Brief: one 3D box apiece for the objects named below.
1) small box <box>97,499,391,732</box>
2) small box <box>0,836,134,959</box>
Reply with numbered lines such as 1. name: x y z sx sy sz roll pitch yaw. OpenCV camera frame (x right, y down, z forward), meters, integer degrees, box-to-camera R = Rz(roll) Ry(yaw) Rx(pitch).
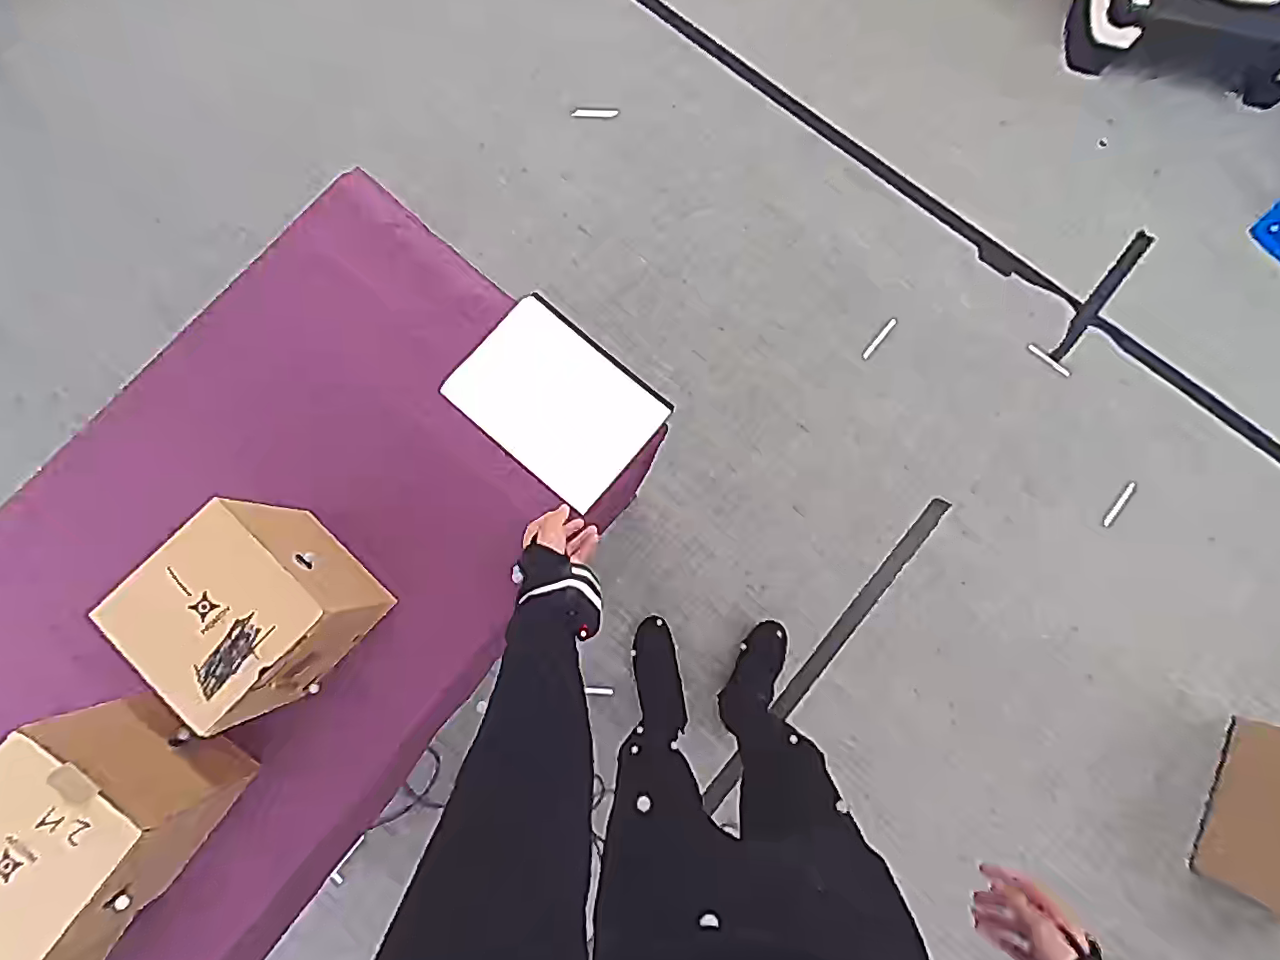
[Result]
1. small box: -0.431 0.144 0.624 0.179 0.176 0.168 42 83 6
2. small box: -0.709 0.522 0.565 0.179 0.176 0.168 32 81 4
